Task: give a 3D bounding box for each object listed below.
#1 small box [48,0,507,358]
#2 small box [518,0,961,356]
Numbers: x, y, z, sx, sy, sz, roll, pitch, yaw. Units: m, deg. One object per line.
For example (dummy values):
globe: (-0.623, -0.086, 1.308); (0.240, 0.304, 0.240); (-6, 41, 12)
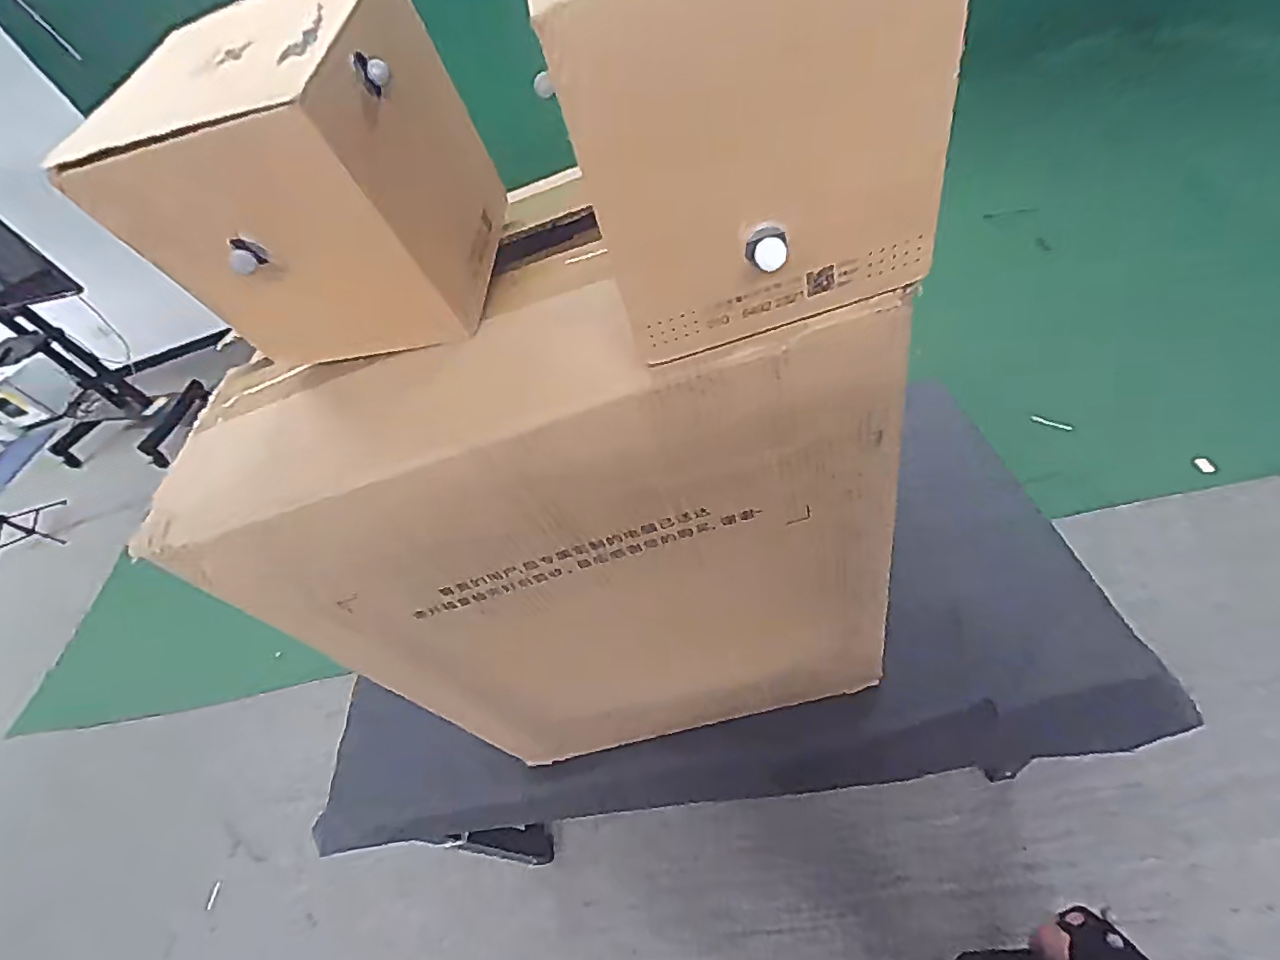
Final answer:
small box: (-0.221, -0.205, 0.382); (0.179, 0.176, 0.168); (-5, 62, 15)
small box: (0.045, -0.200, 0.300); (0.168, 0.176, 0.179); (-16, 49, 7)
